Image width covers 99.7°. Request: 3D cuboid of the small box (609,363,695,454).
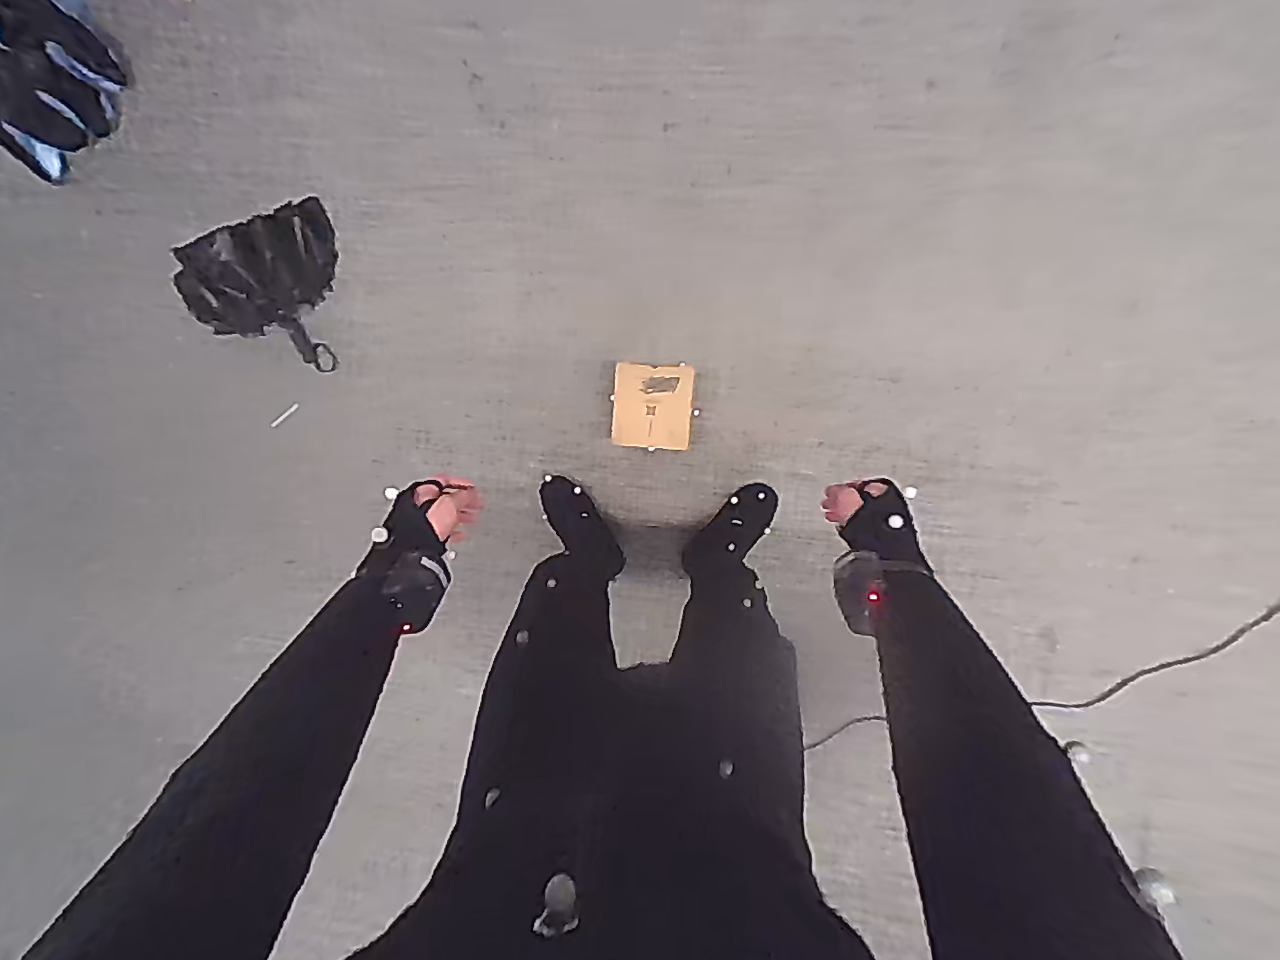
[{"bbox_3d":[0.032,-0.159,1.180,0.168,0.176,0.179,5,101,7],"label":"small box"}]
